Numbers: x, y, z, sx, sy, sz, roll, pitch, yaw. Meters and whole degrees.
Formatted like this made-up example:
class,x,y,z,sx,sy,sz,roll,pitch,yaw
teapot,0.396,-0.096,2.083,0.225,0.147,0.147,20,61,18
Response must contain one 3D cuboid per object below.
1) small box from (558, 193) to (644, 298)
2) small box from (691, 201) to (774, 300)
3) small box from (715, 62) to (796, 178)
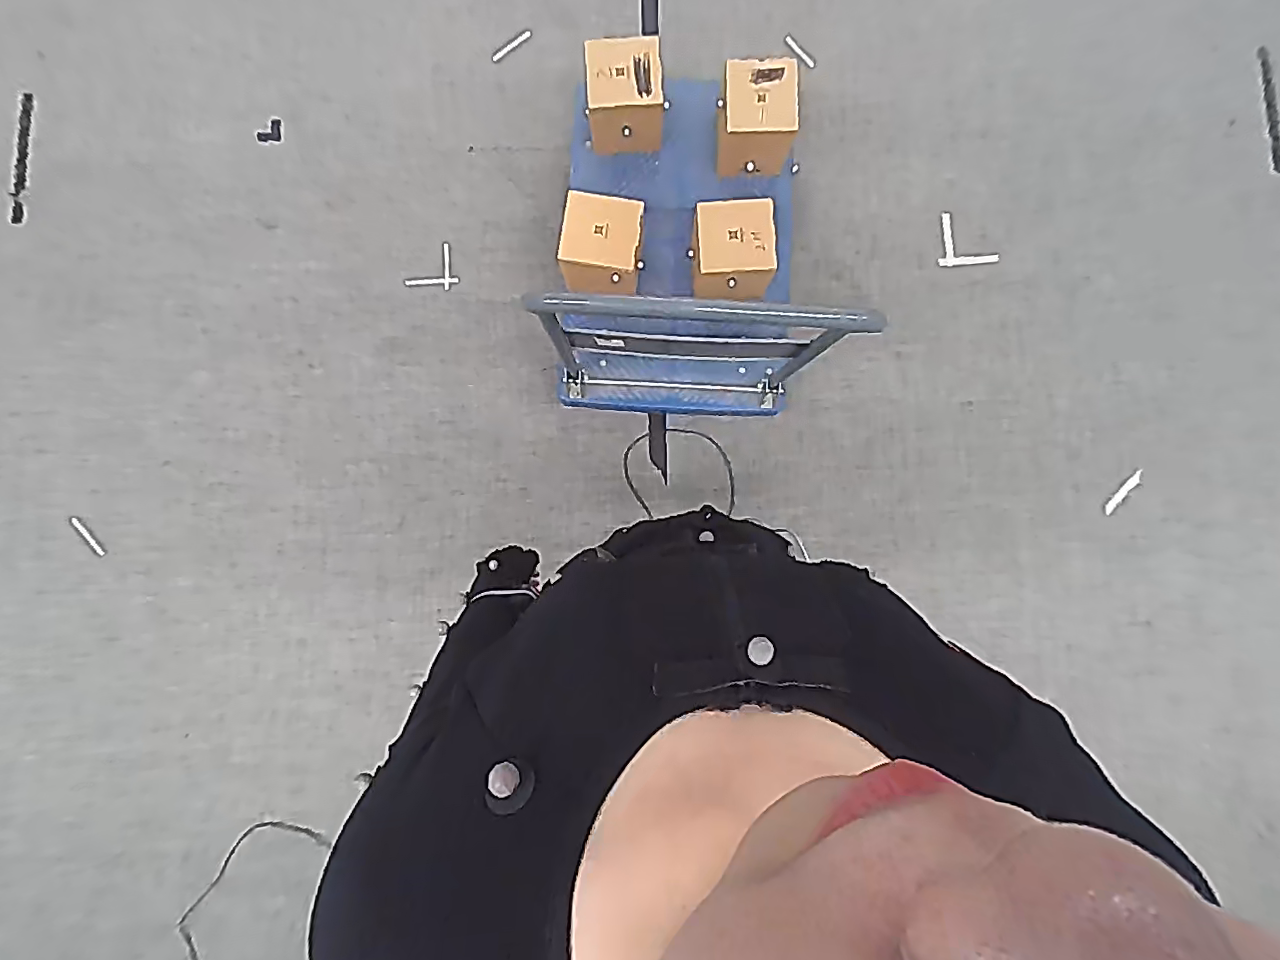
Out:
class,x,y,z,sx,sy,sz,roll,pitch,yaw
small box,-0.091,-0.558,1.308,0.179,0.176,0.168,8,86,-1
small box,0.215,-0.546,1.307,0.179,0.176,0.168,-3,87,0
small box,0.277,-0.878,1.328,0.168,0.176,0.179,0,87,0
